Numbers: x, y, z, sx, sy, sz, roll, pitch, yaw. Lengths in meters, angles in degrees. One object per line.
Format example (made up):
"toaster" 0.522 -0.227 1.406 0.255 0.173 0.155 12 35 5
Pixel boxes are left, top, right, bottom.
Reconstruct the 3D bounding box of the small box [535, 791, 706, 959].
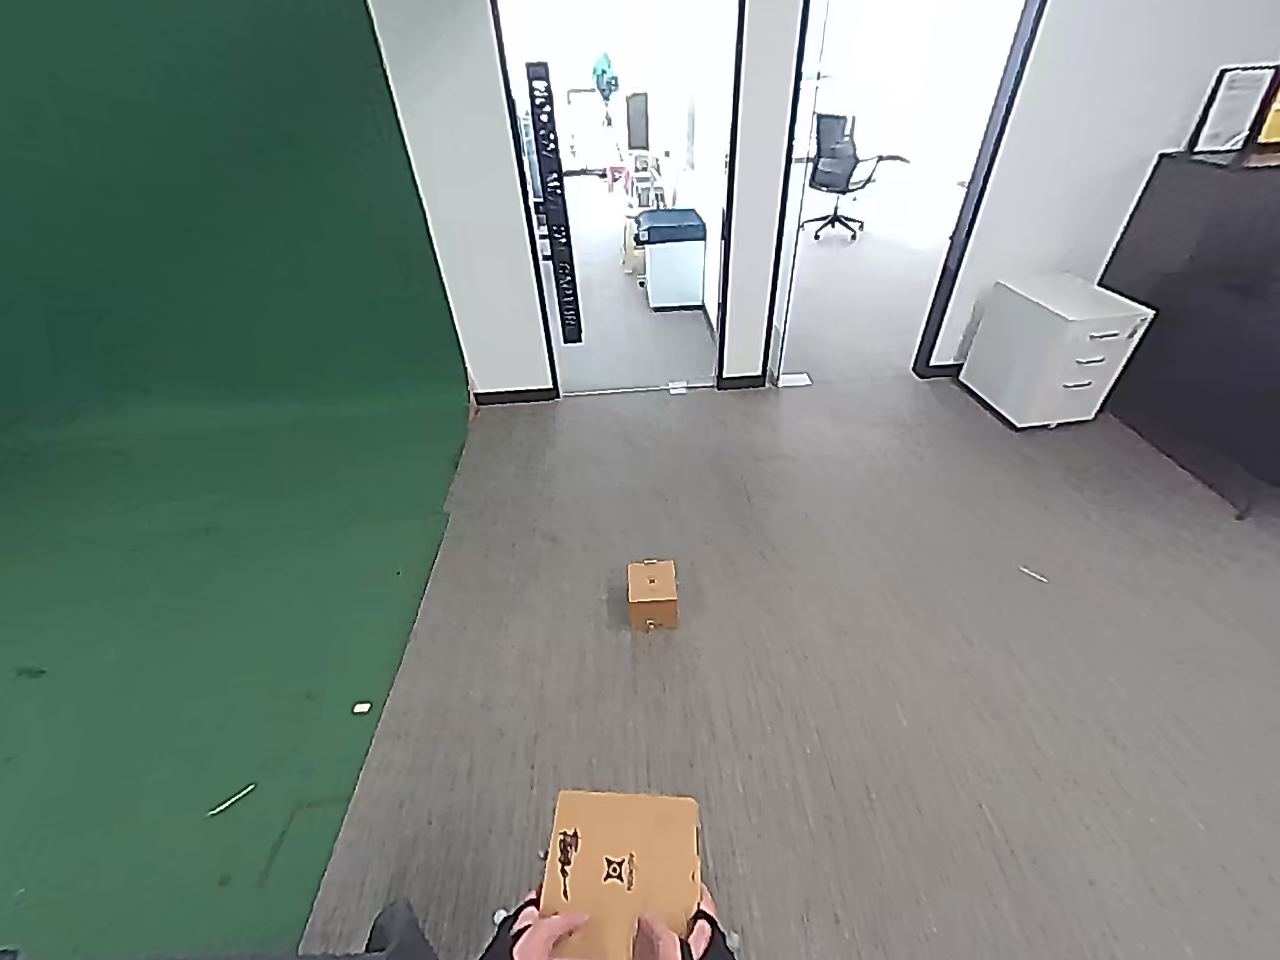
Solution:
"small box" -0.017 0.508 0.656 0.179 0.176 0.168 3 36 3

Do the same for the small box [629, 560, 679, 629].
"small box" 0.050 0.402 1.895 0.168 0.176 0.179 -3 39 3
